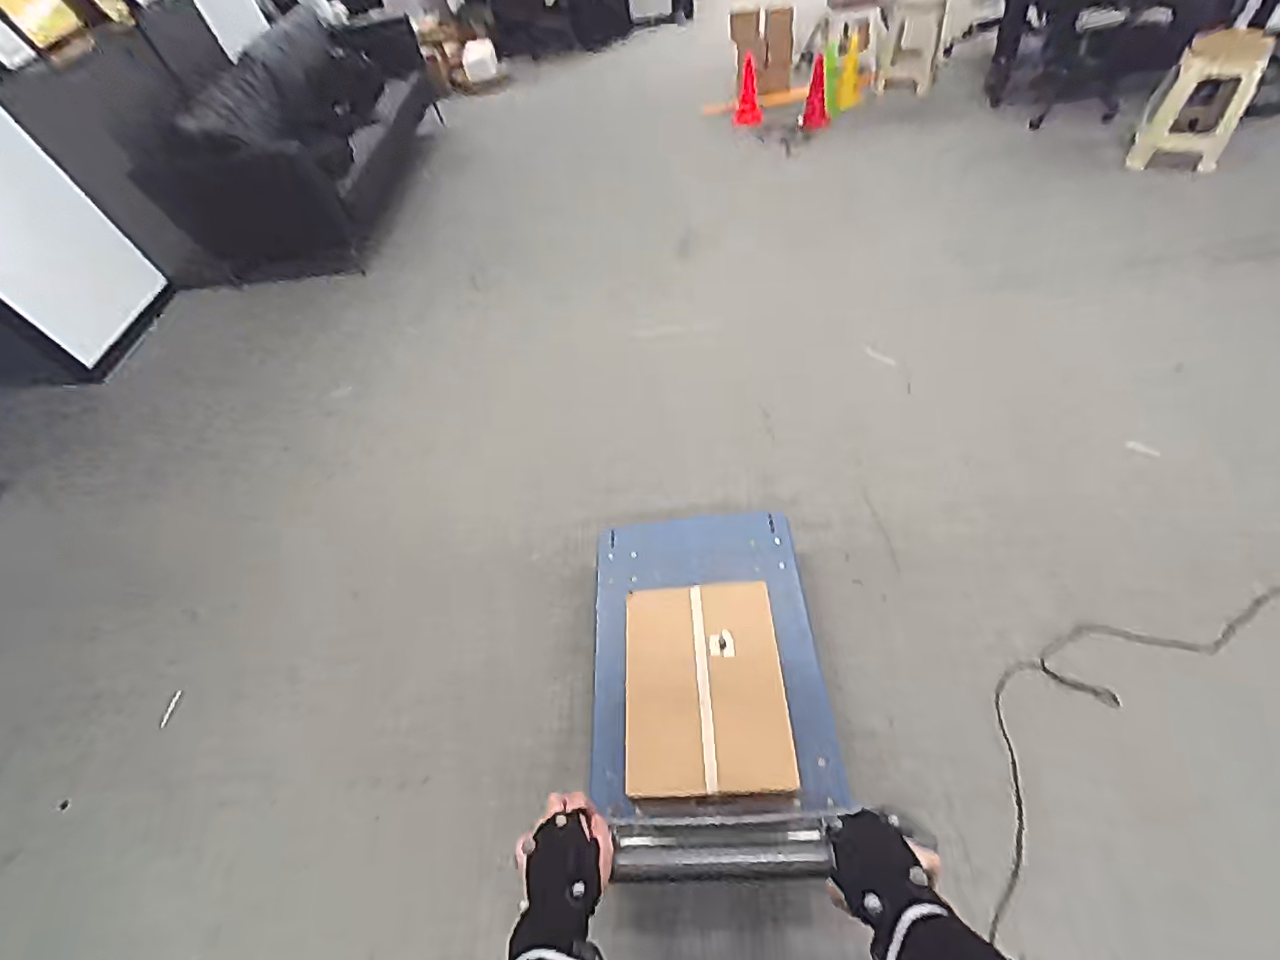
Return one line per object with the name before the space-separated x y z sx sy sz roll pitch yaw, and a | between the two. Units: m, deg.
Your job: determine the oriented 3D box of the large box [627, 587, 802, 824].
large box | 0.152 0.498 1.192 0.320 0.320 0.408 -6 51 6
